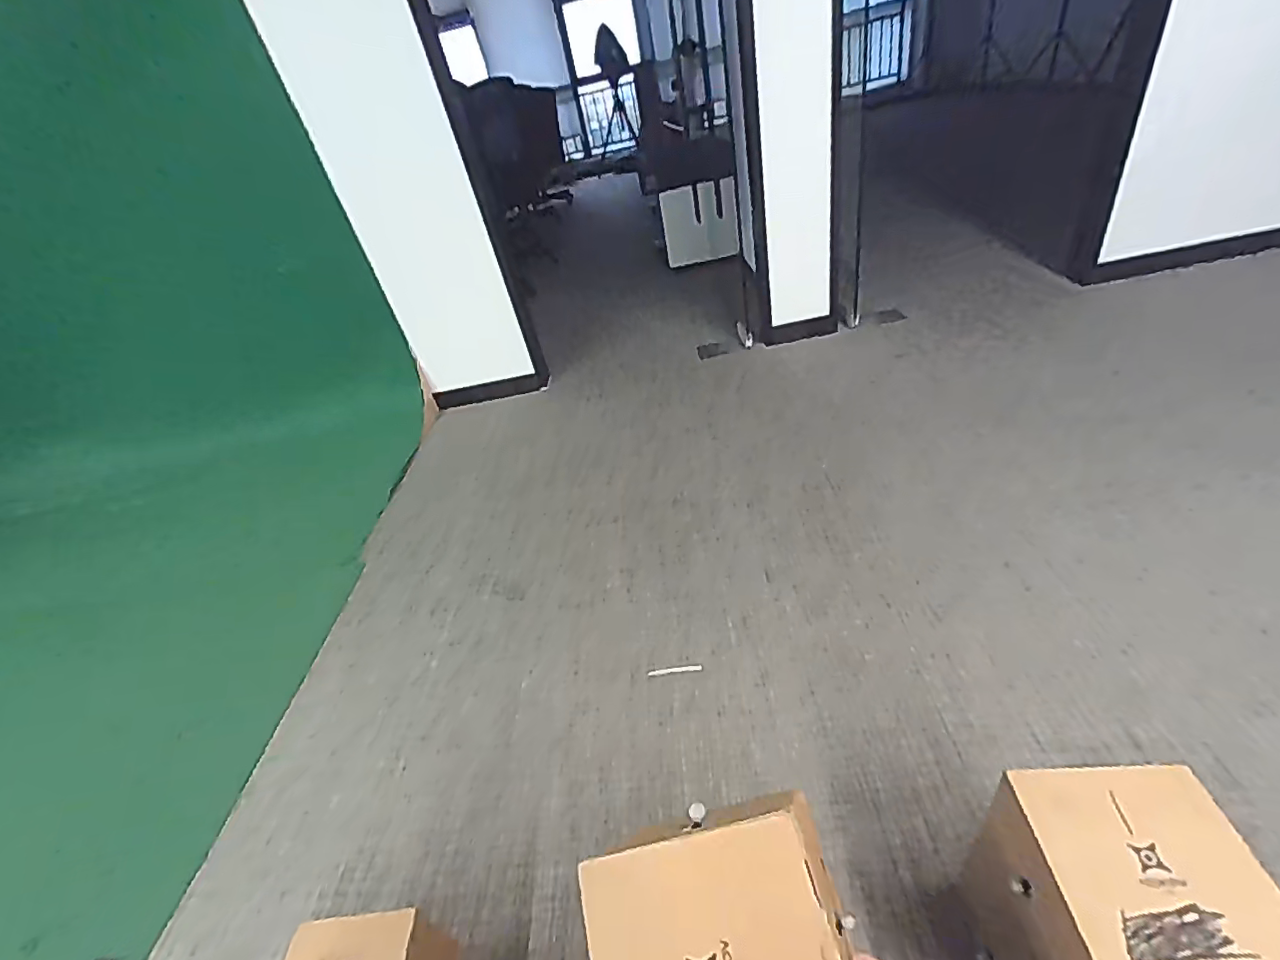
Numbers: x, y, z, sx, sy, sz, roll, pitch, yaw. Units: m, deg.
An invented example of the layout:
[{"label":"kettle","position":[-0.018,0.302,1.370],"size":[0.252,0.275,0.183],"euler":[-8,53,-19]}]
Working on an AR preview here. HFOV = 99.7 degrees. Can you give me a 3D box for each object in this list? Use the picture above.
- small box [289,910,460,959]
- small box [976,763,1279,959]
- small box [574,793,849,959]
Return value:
[{"label":"small box","position":[-0.350,0.689,0.690],"size":[0.168,0.176,0.179],"euler":[-10,35,5]},{"label":"small box","position":[0.454,0.402,0.518],"size":[0.168,0.176,0.179],"euler":[-7,35,9]},{"label":"small box","position":[0.067,0.369,0.440],"size":[0.179,0.176,0.168],"euler":[-19,61,8]}]
